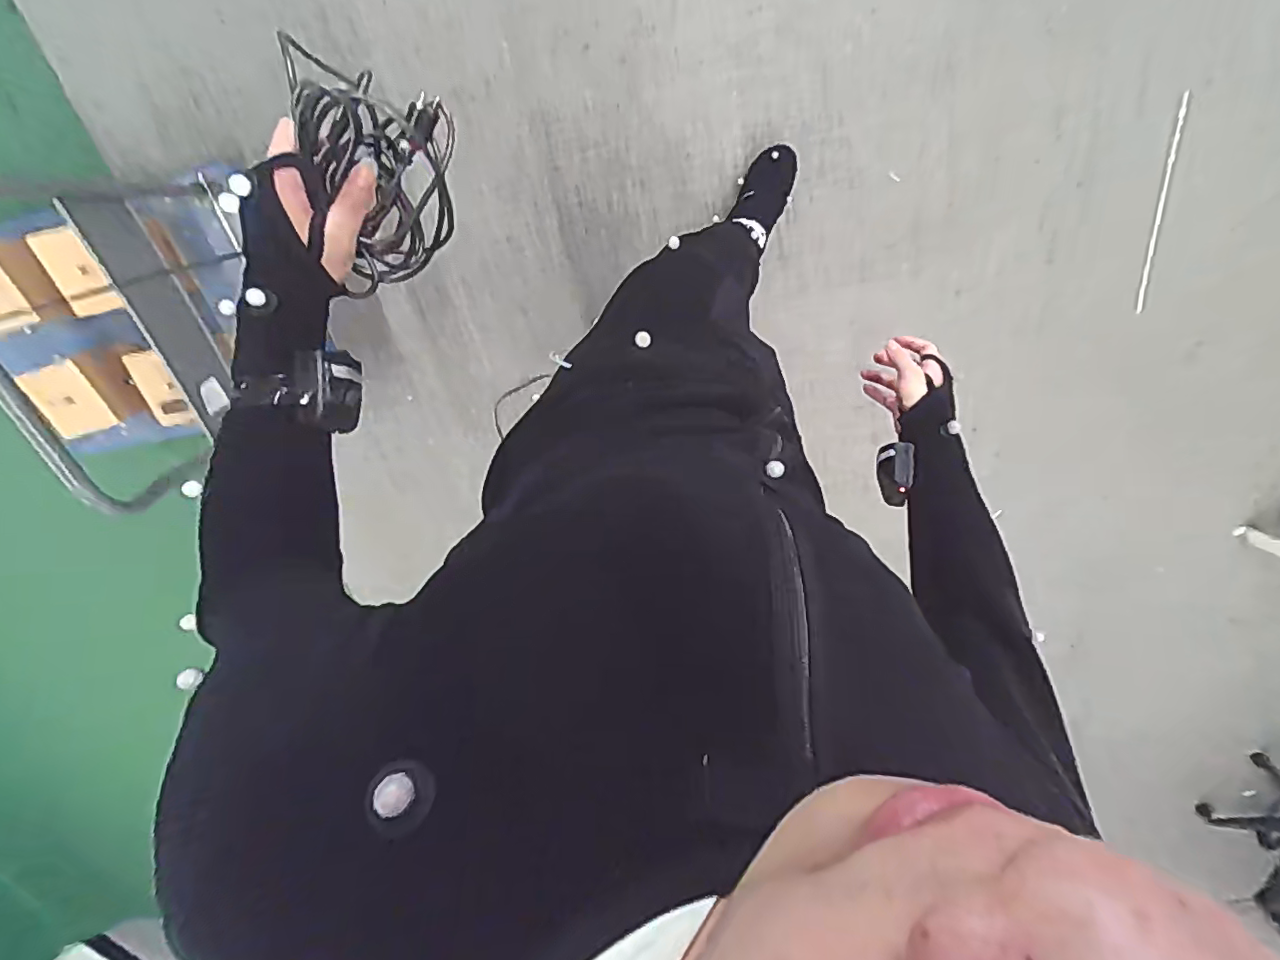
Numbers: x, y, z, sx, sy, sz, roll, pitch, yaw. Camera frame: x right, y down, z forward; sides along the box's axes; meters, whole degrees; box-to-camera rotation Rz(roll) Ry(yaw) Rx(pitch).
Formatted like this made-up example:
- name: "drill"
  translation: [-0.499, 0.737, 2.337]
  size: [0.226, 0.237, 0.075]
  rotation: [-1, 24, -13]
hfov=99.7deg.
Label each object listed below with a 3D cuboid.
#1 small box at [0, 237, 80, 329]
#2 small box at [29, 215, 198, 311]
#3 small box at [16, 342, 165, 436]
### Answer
- name: "small box"
  translation: [-1.429, -0.455, 1.250]
  size: [0.179, 0.176, 0.168]
  rotation: [-11, 118, 8]
- name: "small box"
  translation: [-1.169, -0.491, 1.218]
  size: [0.179, 0.176, 0.168]
  rotation: [-9, 118, 7]
- name: "small box"
  translation: [-1.365, -0.235, 1.366]
  size: [0.179, 0.176, 0.168]
  rotation: [-13, 116, 10]
